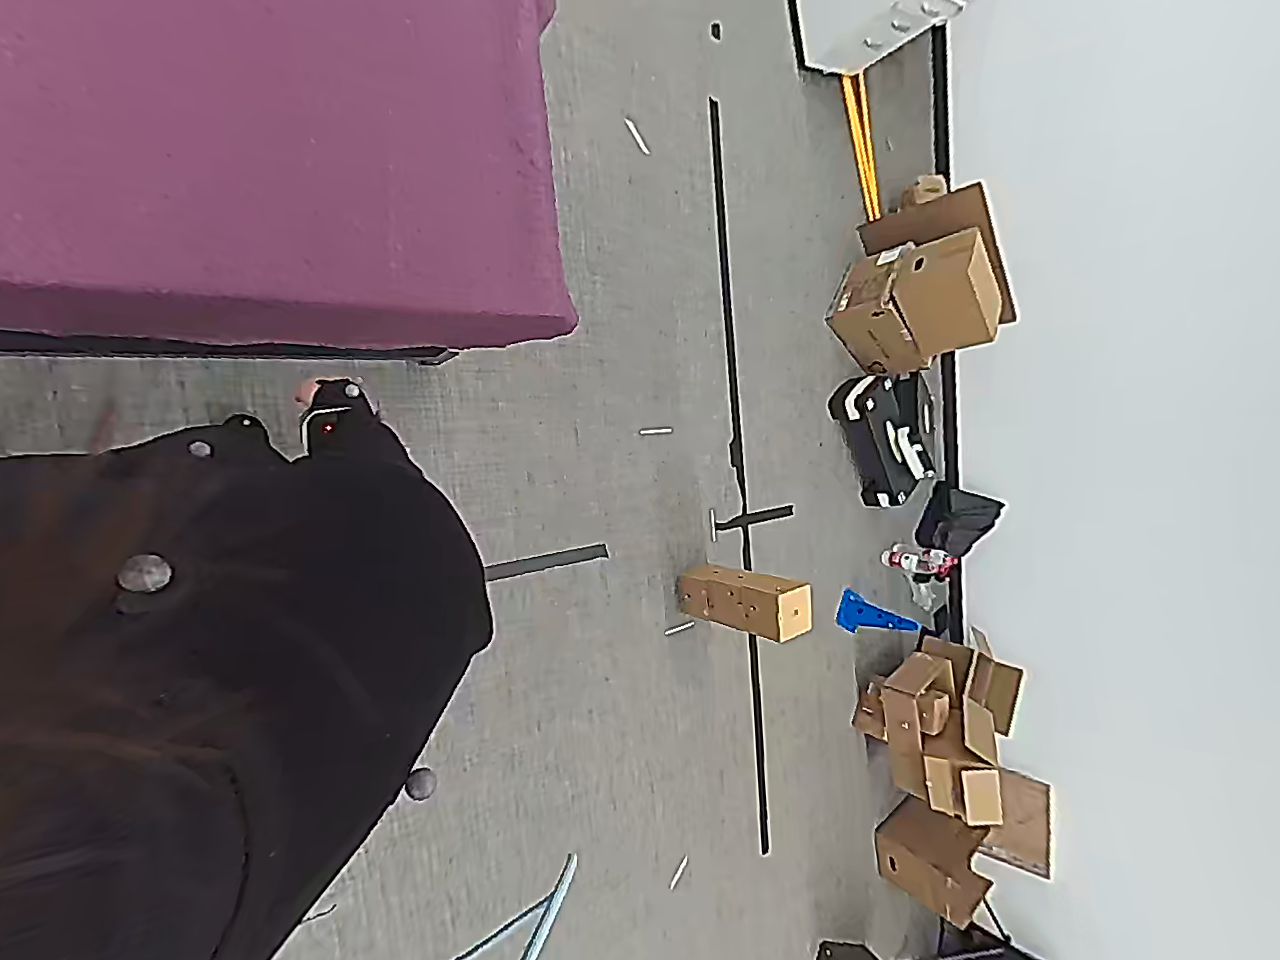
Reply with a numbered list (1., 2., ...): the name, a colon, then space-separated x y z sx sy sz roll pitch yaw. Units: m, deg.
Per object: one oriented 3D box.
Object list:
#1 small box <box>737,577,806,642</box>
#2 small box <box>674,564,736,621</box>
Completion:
1. small box: 0.461 0.448 1.901 0.179 0.176 0.168 -8 97 -36
2. small box: 0.260 0.443 2.160 0.179 0.176 0.168 -12 99 -35
